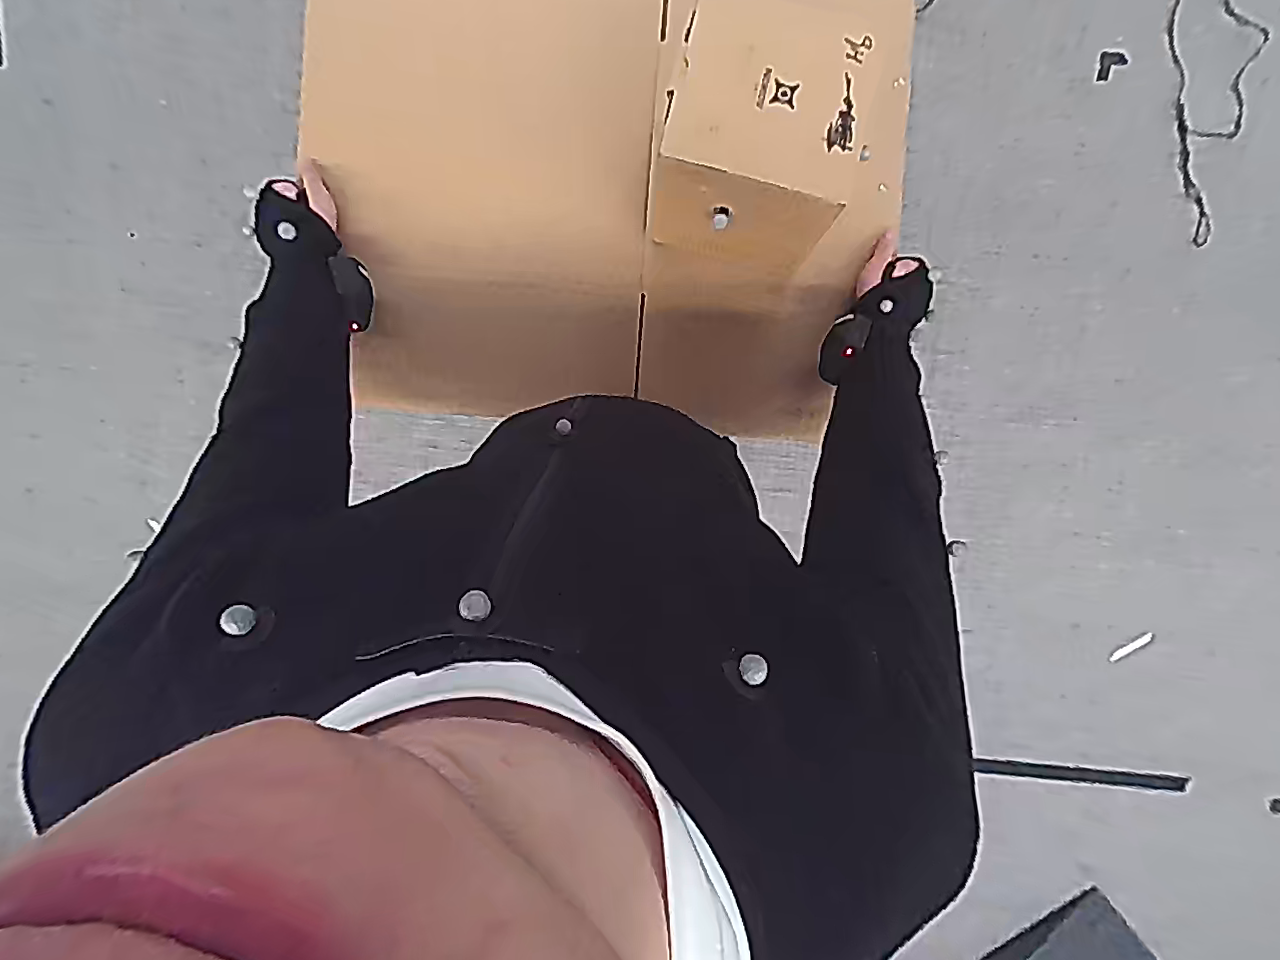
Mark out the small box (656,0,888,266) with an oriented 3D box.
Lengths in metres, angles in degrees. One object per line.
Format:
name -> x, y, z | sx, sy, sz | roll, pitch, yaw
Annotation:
small box -> 0.118, -0.346, 0.562 | 0.179, 0.176, 0.168 | 15, 90, 0
